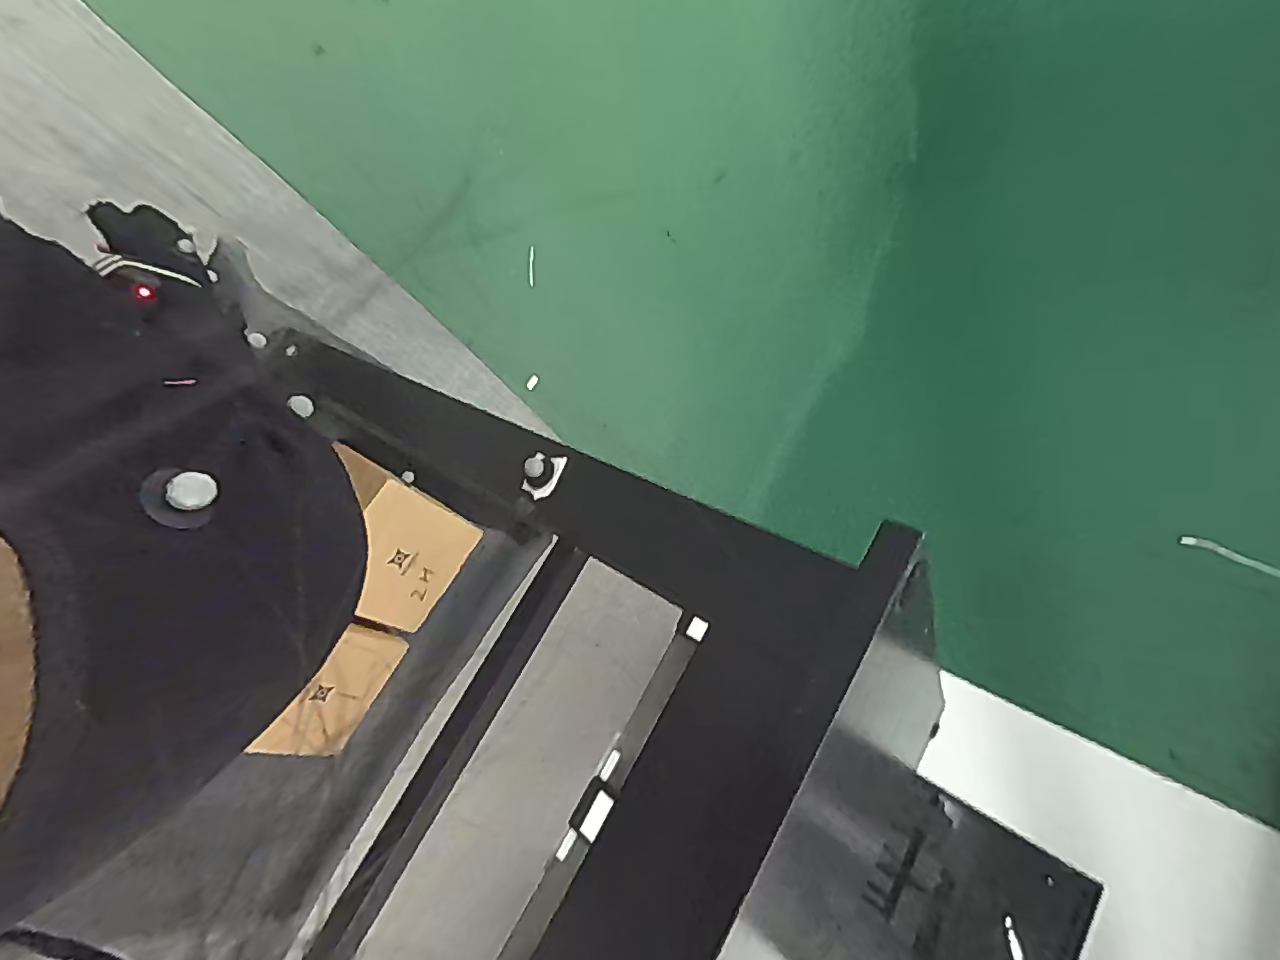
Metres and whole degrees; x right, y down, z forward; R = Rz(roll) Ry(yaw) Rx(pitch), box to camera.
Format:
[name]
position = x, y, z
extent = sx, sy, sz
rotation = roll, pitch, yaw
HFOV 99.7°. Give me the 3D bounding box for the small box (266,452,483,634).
[small box]
position = -0.361, 0.079, 0.738
extent = 0.168, 0.176, 0.179
rotation = -56, 142, -11
